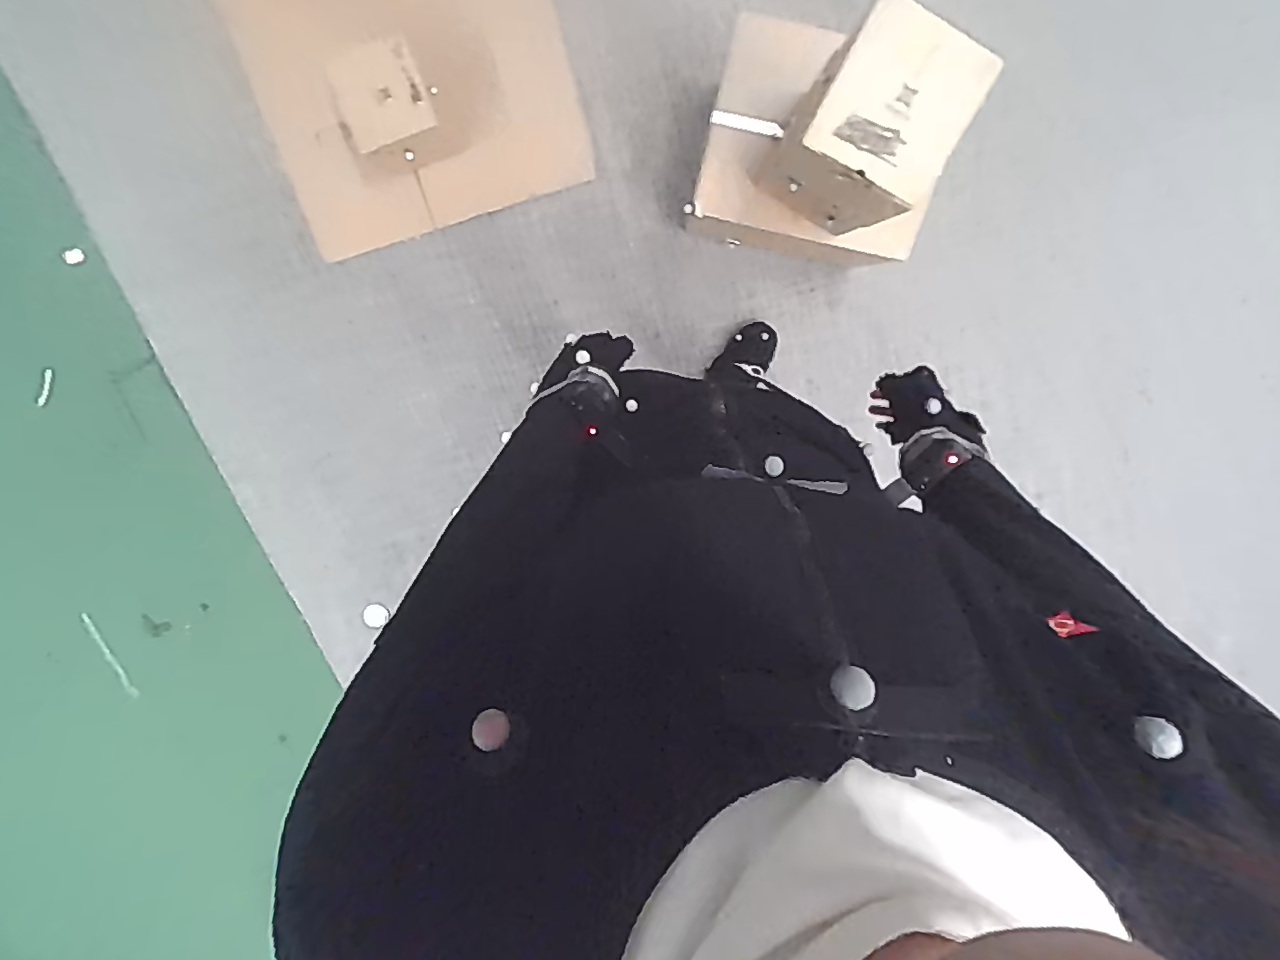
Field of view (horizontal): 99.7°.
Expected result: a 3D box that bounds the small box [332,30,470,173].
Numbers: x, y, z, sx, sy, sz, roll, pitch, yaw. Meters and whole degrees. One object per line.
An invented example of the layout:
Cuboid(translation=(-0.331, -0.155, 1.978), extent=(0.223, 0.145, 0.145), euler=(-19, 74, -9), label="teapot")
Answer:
Cuboid(translation=(-0.490, -0.777, 1.134), extent=(0.179, 0.176, 0.168), euler=(-18, 104, 9), label="small box")

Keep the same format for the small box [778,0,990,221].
Cuboid(translation=(0.300, -0.468, 0.716), extent=(0.168, 0.176, 0.179), euler=(24, 108, -6), label="small box")

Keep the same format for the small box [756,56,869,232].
Cuboid(translation=(0.311, -0.522, 0.871), extent=(0.179, 0.176, 0.168), euler=(27, 106, -5), label="small box")
